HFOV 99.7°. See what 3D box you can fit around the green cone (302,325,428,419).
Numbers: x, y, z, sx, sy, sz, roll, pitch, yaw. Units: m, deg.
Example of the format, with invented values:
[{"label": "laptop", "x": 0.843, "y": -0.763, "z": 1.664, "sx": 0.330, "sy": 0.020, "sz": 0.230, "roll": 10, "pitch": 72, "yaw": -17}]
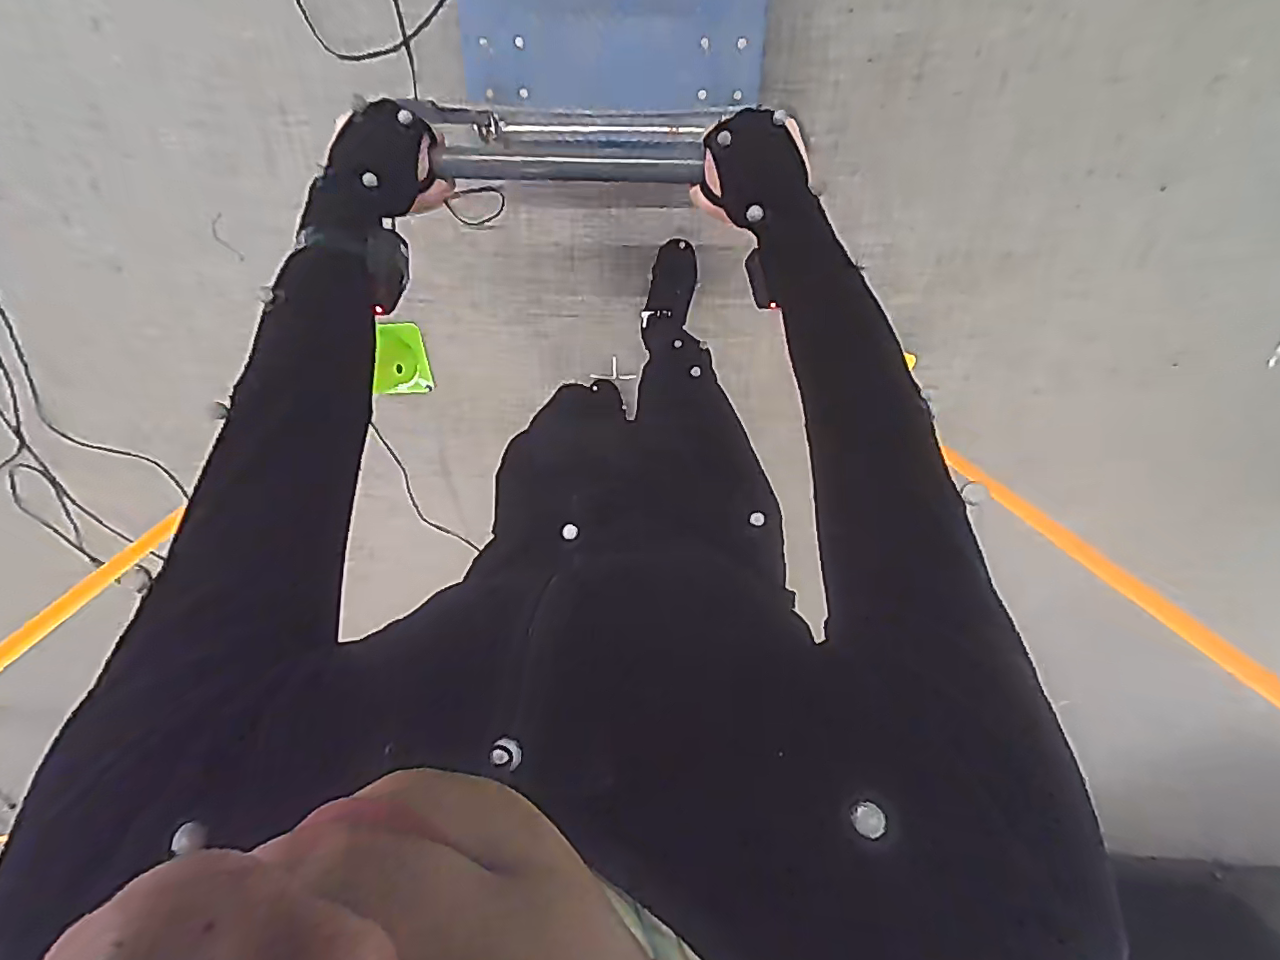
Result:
[{"label": "green cone", "x": -0.722, "y": -0.247, "z": 1.368, "sx": 0.202, "sy": 0.368, "sz": 0.200, "roll": -1, "pitch": 119, "yaw": 6}]
